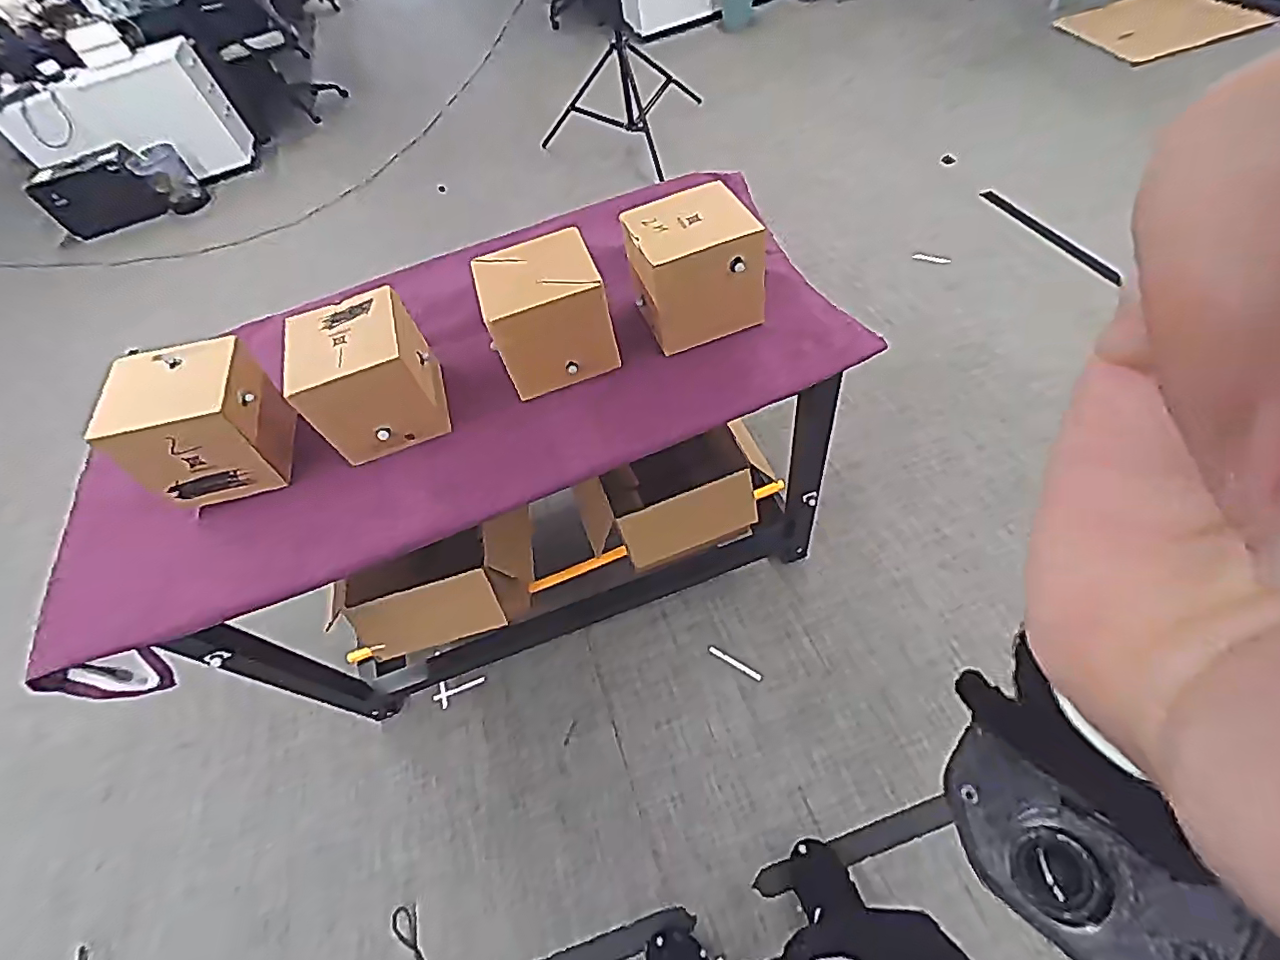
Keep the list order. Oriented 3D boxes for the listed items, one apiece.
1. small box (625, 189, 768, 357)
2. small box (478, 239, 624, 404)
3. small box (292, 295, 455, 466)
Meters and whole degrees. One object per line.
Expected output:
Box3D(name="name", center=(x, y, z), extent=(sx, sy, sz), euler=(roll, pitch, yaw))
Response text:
Box3D(name="small box", center=(0.091, -0.332, 0.880), extent=(0.179, 0.176, 0.168), euler=(-20, 53, -3))
Box3D(name="small box", center=(-0.144, -0.258, 0.871), extent=(0.179, 0.176, 0.168), euler=(-20, 54, -2))
Box3D(name="small box", center=(-0.413, -0.154, 0.855), extent=(0.168, 0.176, 0.179), euler=(-21, 55, -4))
